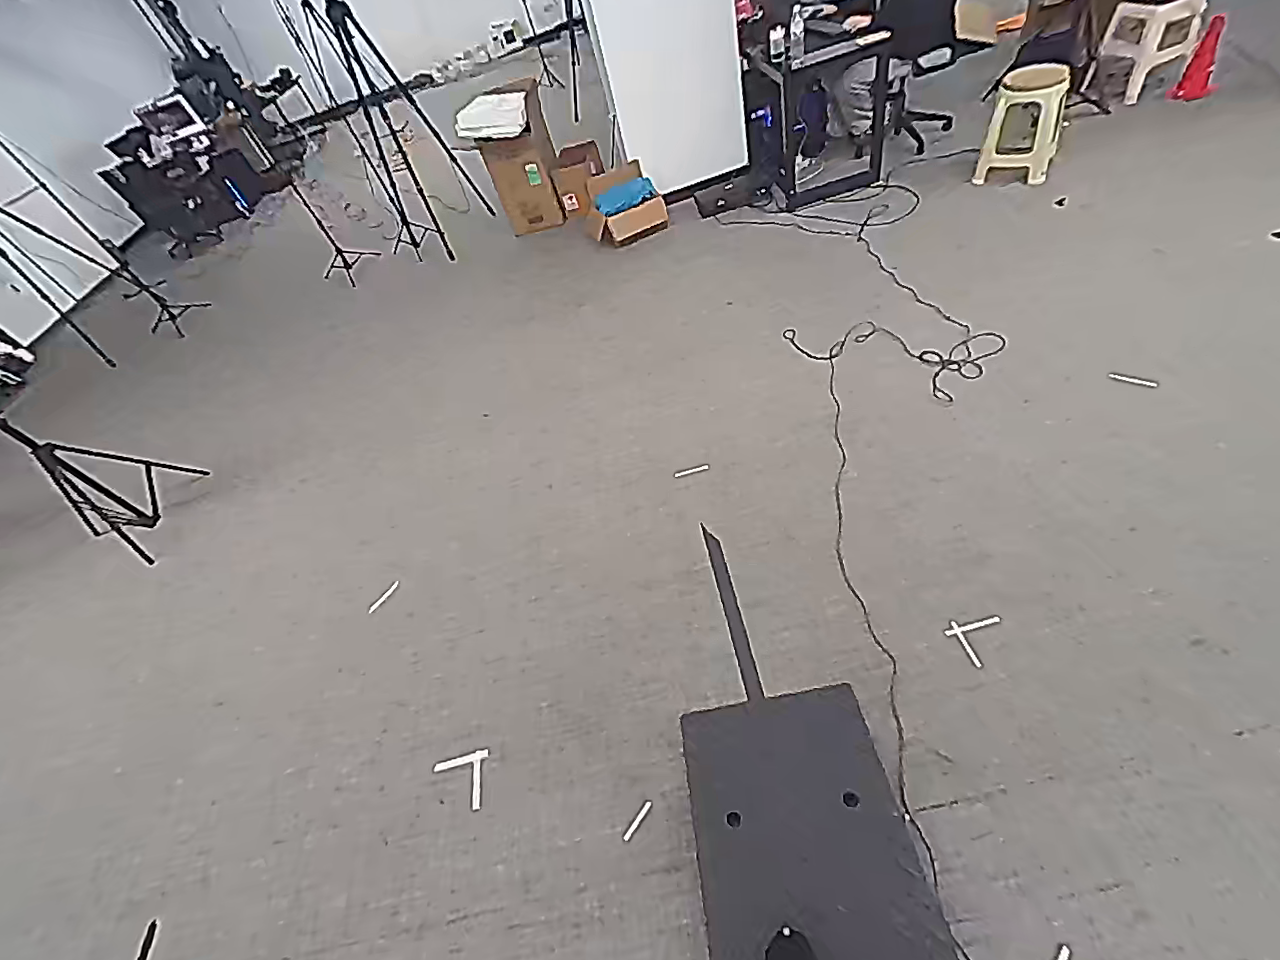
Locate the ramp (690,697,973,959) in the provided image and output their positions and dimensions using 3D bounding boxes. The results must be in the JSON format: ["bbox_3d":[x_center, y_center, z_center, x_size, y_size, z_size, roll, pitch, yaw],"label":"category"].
[{"bbox_3d":[0.408,0.960,1.132,0.509,0.206,0.991,-18,45,6],"label":"ramp"}]
